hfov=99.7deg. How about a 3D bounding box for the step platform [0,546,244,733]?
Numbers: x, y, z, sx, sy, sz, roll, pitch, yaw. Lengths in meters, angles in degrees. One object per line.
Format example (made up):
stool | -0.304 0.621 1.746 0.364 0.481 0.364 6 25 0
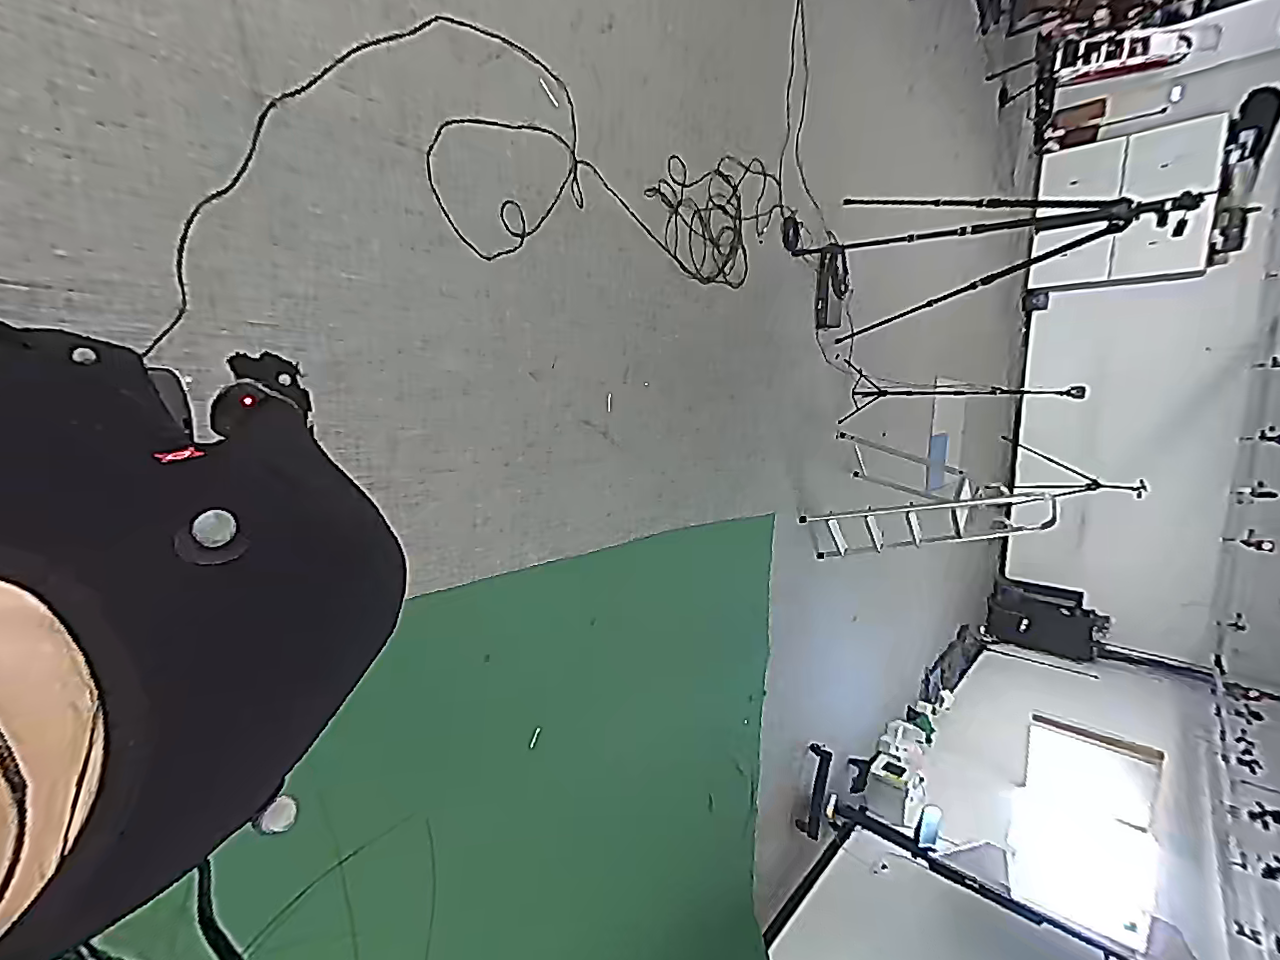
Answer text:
step platform | -1.066 0.303 0.855 0.684 0.204 0.286 -8 102 -47
